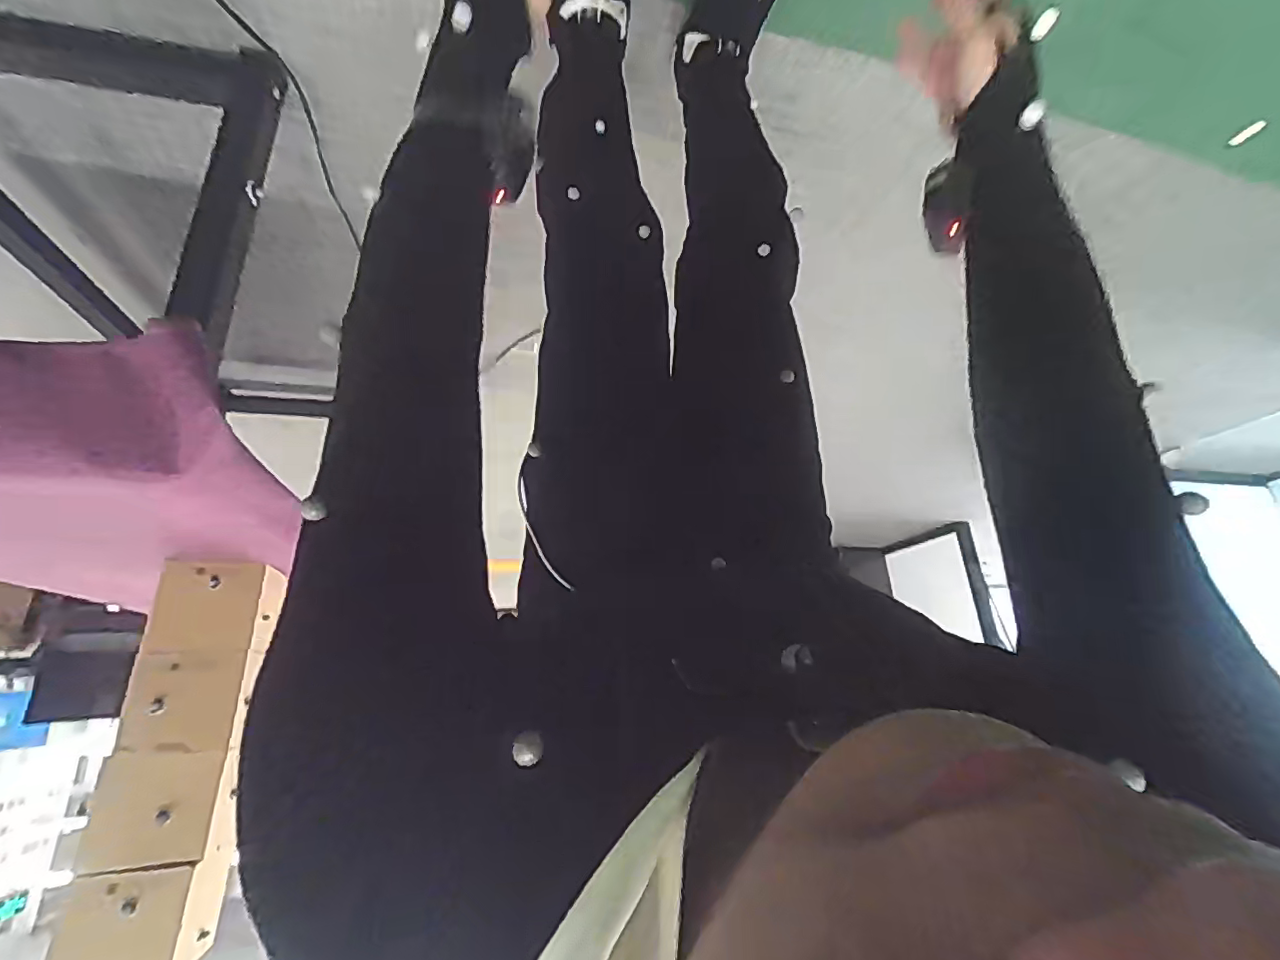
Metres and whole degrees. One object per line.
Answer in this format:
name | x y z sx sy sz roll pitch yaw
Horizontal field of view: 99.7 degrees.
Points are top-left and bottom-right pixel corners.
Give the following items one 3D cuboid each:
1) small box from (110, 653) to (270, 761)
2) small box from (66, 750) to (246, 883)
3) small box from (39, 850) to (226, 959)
small box | -0.814 0.413 1.000 0.168 0.176 0.179 5 157 -18
small box | -0.814 0.563 0.937 0.179 0.176 0.168 5 156 -18
small box | -0.811 0.716 0.875 0.168 0.176 0.179 5 156 -16
